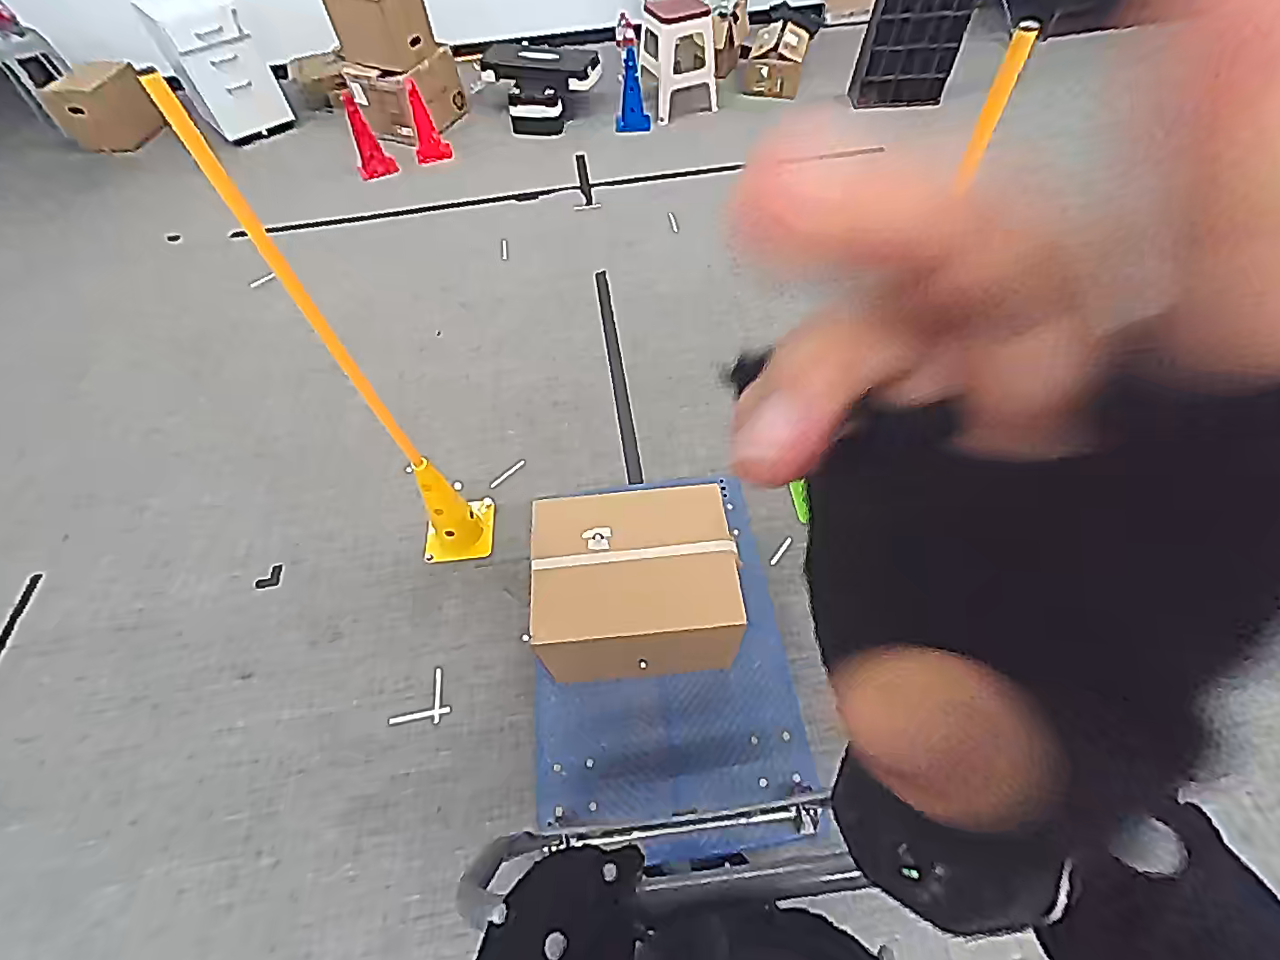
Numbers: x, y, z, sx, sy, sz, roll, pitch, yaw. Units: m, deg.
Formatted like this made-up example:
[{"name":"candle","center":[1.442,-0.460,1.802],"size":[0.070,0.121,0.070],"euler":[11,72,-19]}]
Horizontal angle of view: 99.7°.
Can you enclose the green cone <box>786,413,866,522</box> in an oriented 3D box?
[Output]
[{"name":"green cone","center":[0.570,-0.056,1.557],"size":[0.202,0.368,0.200],"euler":[-5,56,-2]}]

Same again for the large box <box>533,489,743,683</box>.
[{"name":"large box","center":[-0.007,0.248,1.213],"size":[0.408,0.320,0.320],"euler":[-6,56,0]}]
